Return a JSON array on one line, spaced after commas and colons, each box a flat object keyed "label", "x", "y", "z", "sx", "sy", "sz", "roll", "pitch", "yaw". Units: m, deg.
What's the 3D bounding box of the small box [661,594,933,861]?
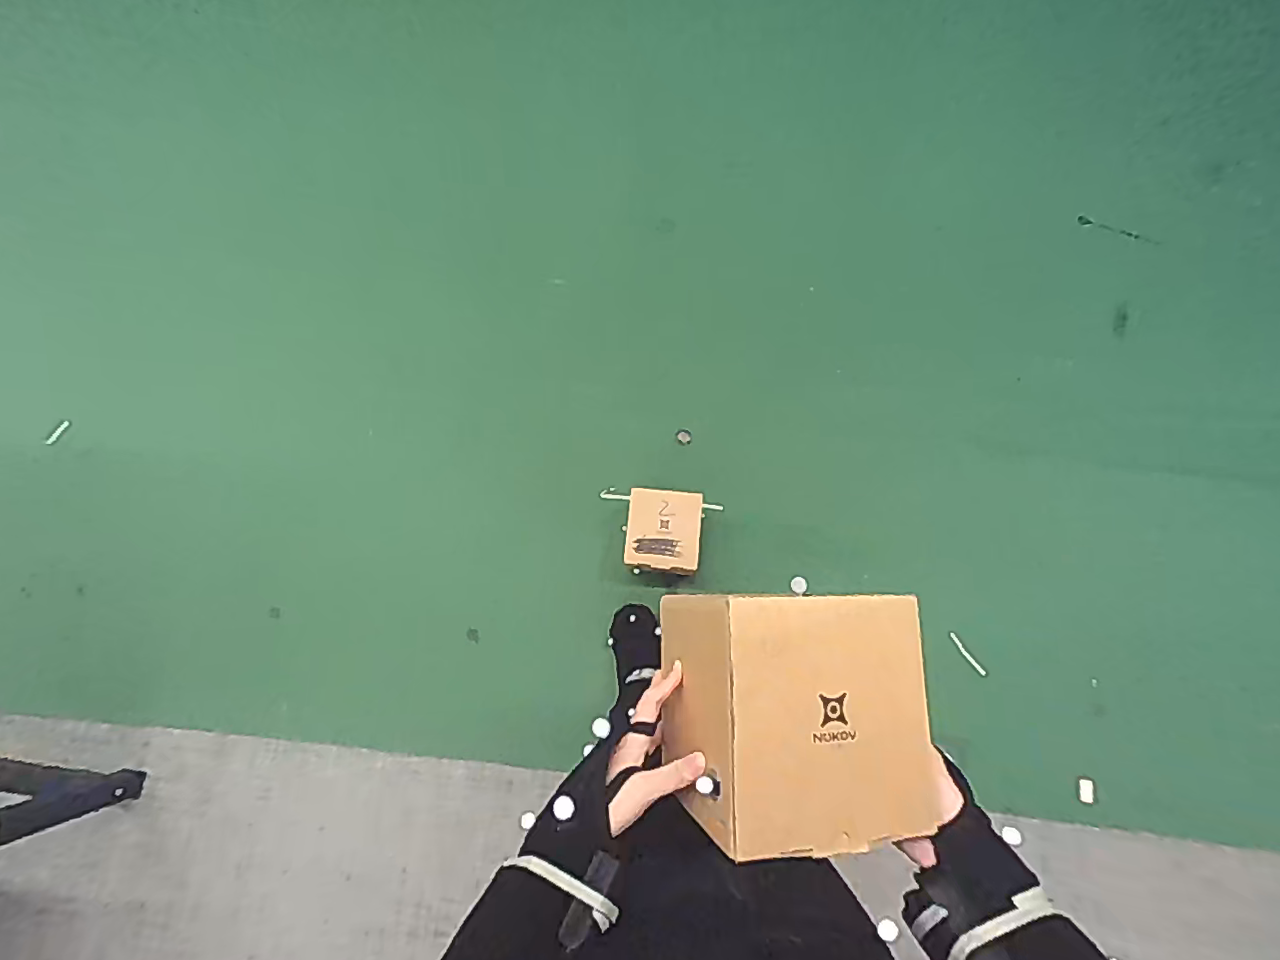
[{"label": "small box", "x": 0.119, "y": 0.192, "z": 0.478, "sx": 0.168, "sy": 0.176, "sz": 0.179, "roll": 1, "pitch": 79, "yaw": -14}]
